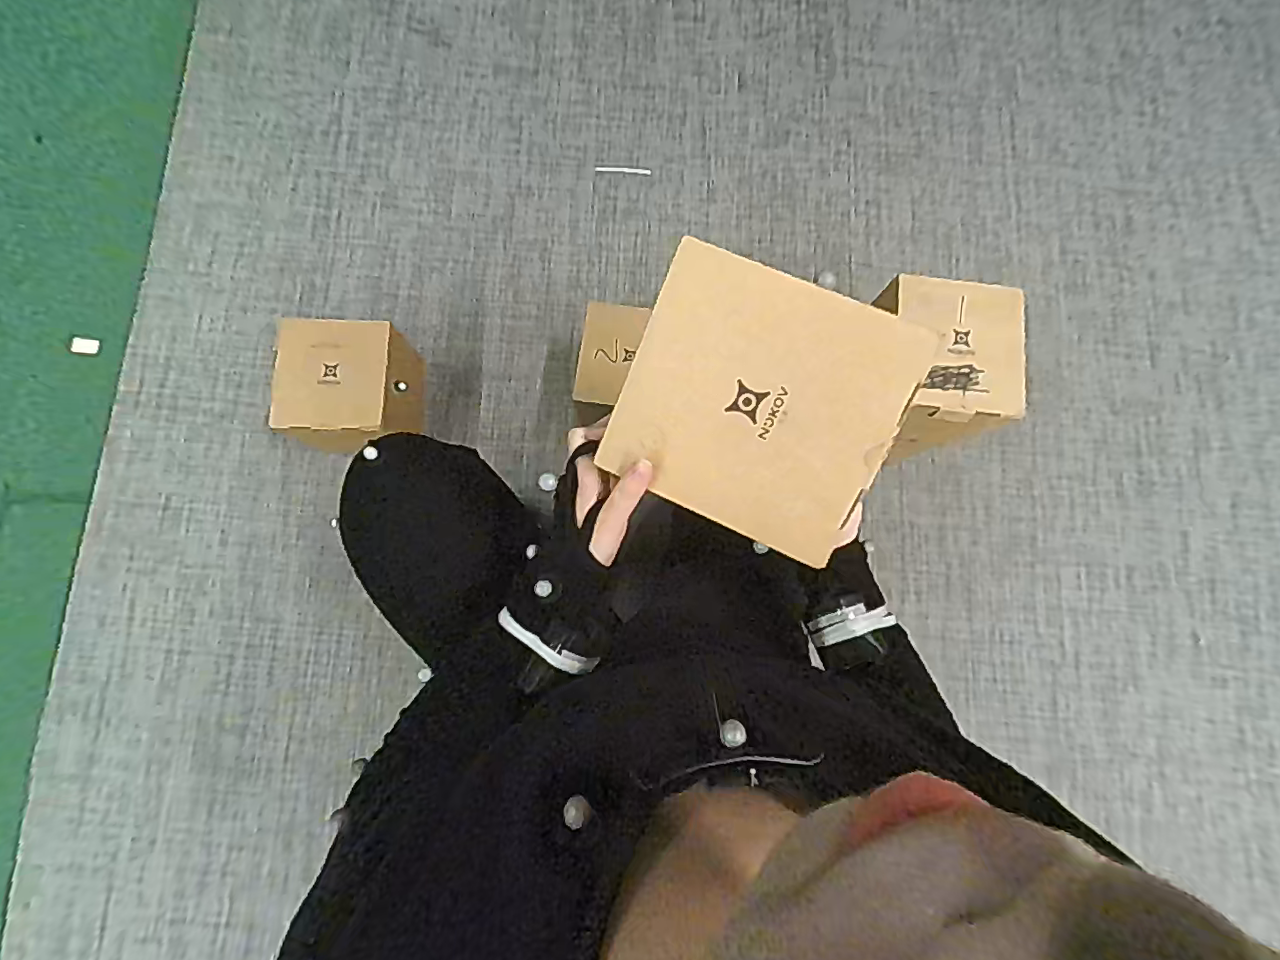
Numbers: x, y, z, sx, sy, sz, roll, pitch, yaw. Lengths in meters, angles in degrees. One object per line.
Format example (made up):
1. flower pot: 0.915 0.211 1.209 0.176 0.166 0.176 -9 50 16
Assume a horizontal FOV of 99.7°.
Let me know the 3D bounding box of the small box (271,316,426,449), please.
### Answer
1. small box: -0.469 -0.151 0.897 0.168 0.176 0.179 2 80 -2

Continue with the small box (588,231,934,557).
1. small box: 0.088 -0.065 0.432 0.179 0.176 0.168 25 103 9

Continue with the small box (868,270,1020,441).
1. small box: 0.391 -0.161 0.754 0.168 0.176 0.179 7 80 -1

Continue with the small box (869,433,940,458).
1. small box: 0.388 -0.139 0.918 0.168 0.176 0.179 5 81 -1
